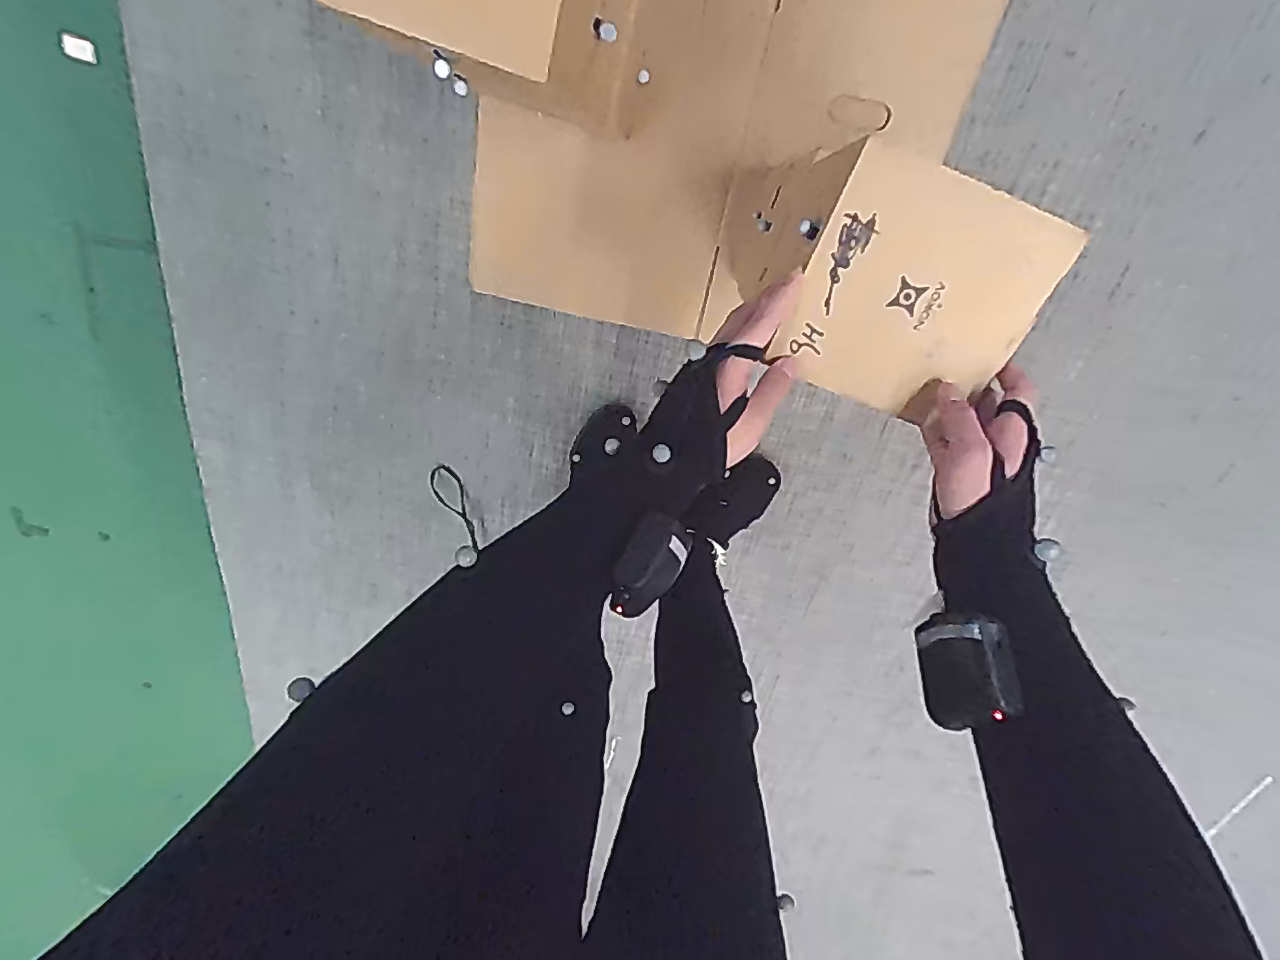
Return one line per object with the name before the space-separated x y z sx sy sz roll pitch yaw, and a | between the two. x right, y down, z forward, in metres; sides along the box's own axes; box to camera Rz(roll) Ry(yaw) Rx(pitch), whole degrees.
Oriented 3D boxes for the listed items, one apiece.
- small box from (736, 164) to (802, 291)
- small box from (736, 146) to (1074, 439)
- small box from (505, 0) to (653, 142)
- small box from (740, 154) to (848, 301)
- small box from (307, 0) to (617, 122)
small box | 0.250 -0.337 0.783 0.179 0.176 0.168 17 116 -2
small box | 0.203 -0.162 0.475 0.179 0.176 0.168 20 114 -6
small box | -0.090 -0.563 0.707 0.179 0.176 0.168 16 117 -2
small box | 0.232 -0.258 0.638 0.179 0.176 0.168 21 116 -3
small box | -0.120 -0.404 0.420 0.179 0.176 0.168 18 118 -1
